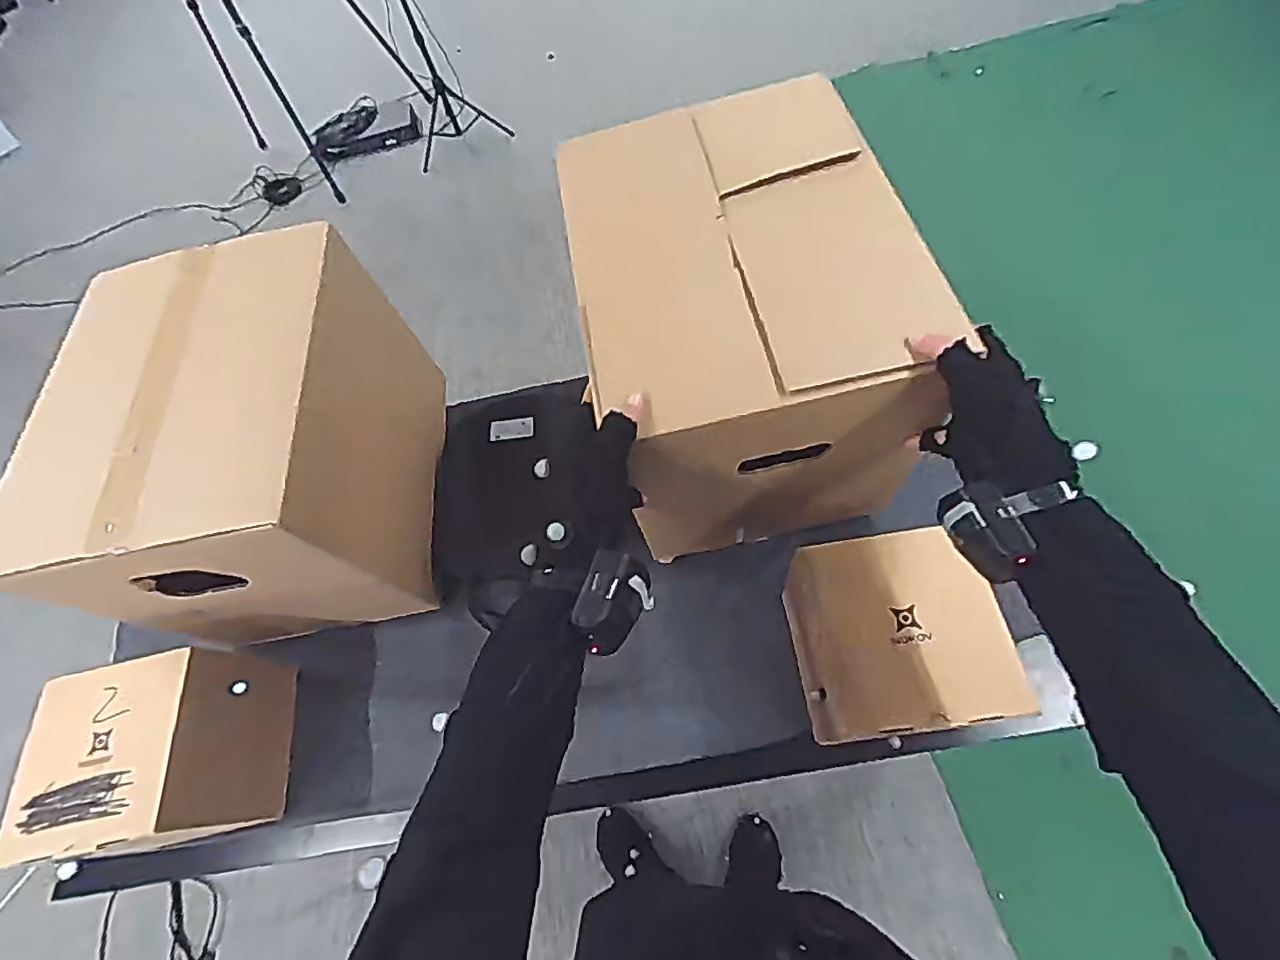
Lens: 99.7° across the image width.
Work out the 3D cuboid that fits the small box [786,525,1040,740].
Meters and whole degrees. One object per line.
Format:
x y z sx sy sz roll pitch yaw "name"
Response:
0.256 0.167 0.565 0.168 0.176 0.179 -9 63 5 "small box"
